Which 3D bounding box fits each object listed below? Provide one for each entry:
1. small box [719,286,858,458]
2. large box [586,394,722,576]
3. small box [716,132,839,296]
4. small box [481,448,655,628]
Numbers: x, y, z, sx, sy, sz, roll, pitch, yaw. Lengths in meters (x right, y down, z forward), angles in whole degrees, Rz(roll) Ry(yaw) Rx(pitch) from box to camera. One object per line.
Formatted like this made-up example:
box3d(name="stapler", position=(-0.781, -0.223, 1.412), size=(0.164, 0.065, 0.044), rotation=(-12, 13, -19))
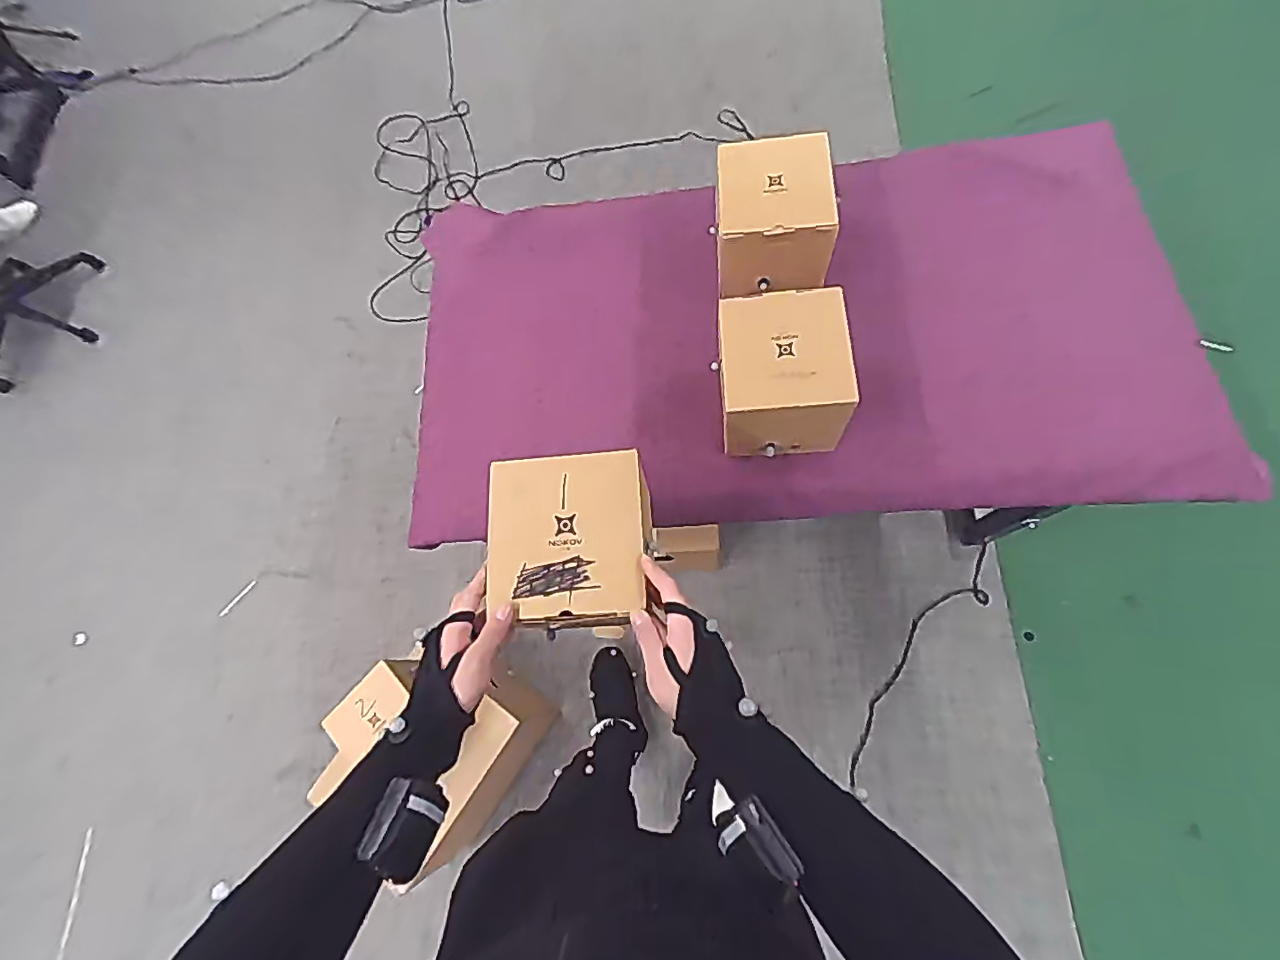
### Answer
box3d(name="small box", position=(0.197, -0.145, 0.769), size=(0.168, 0.176, 0.179), rotation=(-3, 71, 9))
box3d(name="large box", position=(0.044, 0.033, 1.439), size=(0.320, 0.320, 0.408), rotation=(-4, 70, 7))
box3d(name="small box", position=(0.205, -0.406, 0.856), size=(0.168, 0.176, 0.179), rotation=(-2, 73, 8))
box3d(name="small box", position=(-0.073, 0.079, 0.631), size=(0.168, 0.176, 0.179), rotation=(-5, 71, 4))
